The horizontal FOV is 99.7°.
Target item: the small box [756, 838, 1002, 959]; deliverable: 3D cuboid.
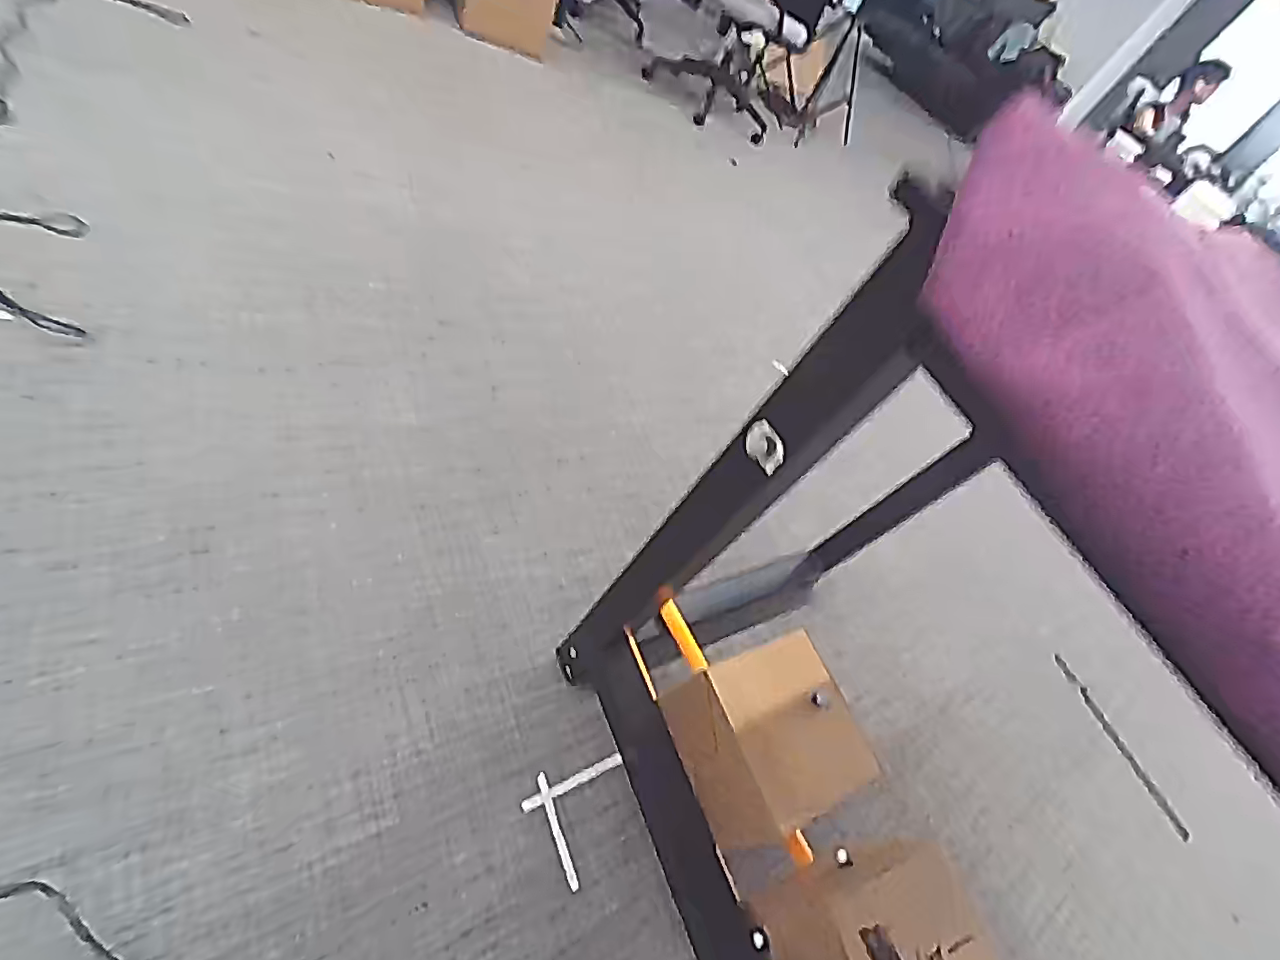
[{"bbox_3d":[0.246,0.506,0.568,0.179,0.176,0.168,-3,58,-30],"label":"small box"}]
